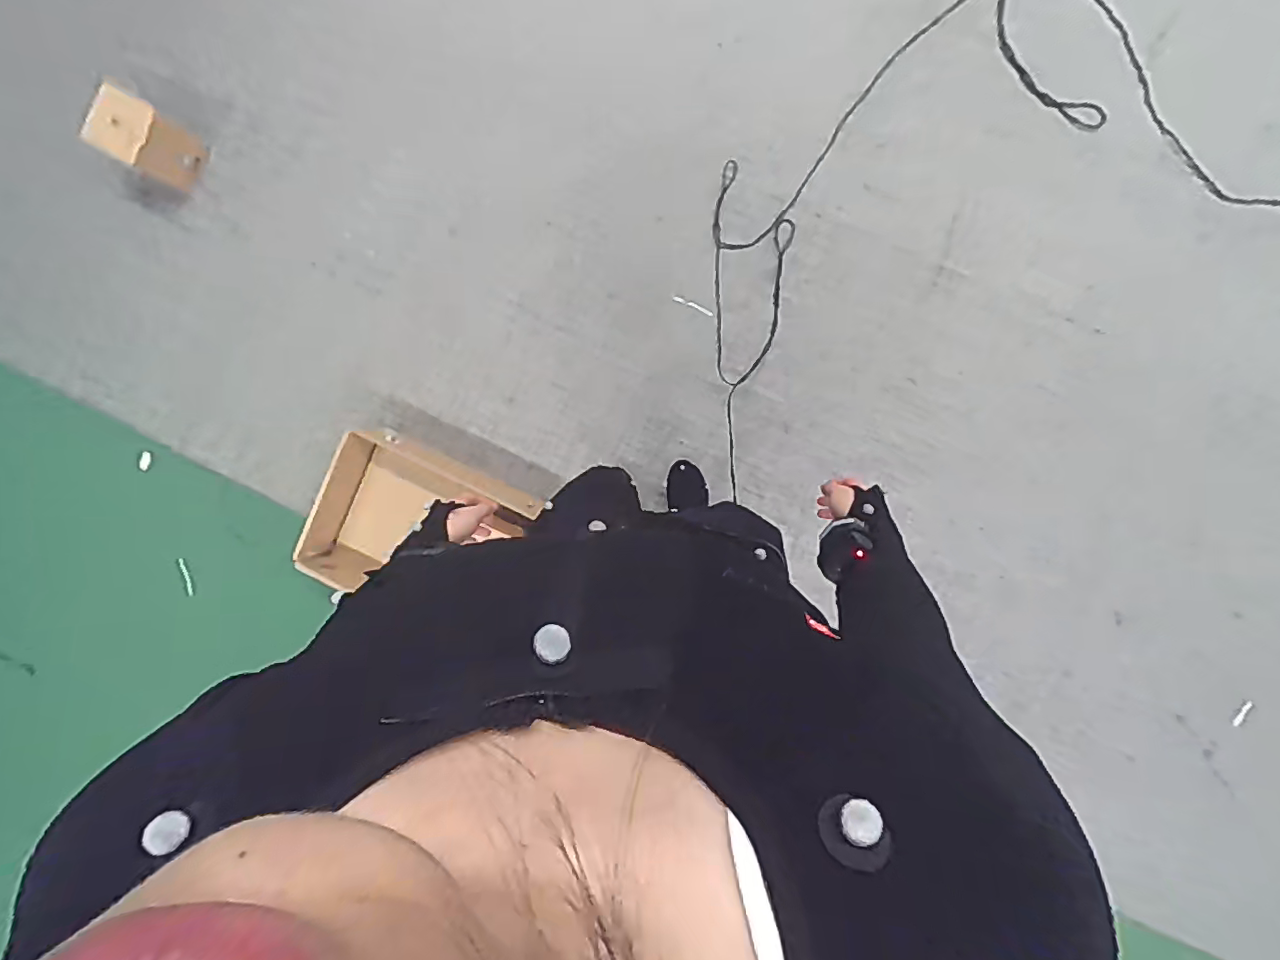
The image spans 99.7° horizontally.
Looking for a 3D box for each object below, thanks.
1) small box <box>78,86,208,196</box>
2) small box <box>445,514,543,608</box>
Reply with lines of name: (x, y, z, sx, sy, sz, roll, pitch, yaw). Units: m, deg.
small box: (-1.365, -0.926, 1.494, 0.179, 0.176, 0.168, 30, 96, 3)
small box: (-0.370, 0.202, 1.400, 0.168, 0.176, 0.179, 22, 93, 4)
